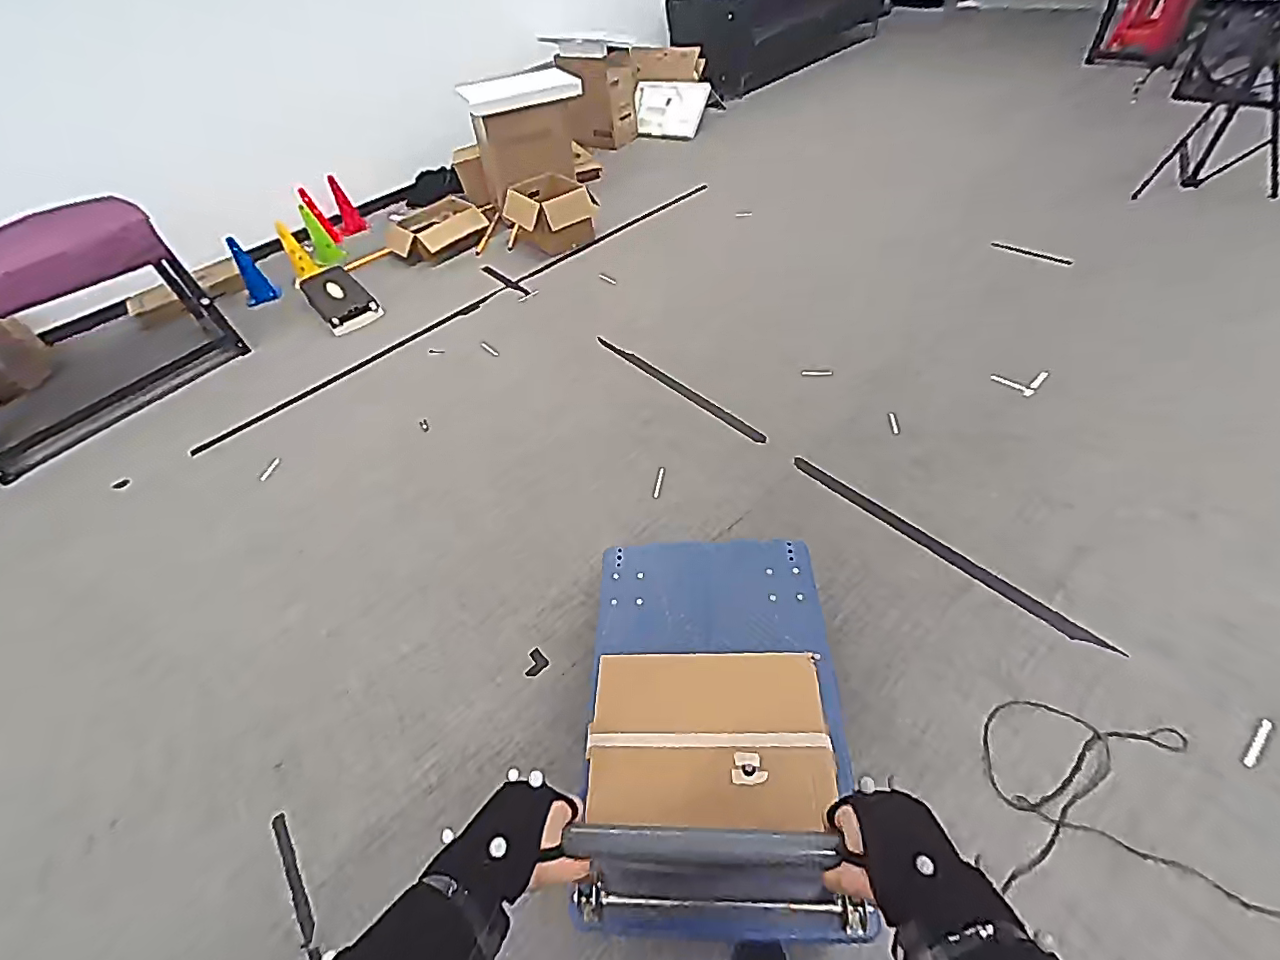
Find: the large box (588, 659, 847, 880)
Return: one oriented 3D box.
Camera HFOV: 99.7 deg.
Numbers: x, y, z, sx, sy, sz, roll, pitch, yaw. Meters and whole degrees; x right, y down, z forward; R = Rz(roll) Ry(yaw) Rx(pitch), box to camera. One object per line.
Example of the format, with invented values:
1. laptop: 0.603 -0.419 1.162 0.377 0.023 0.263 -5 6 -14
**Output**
1. large box: 0.133 0.557 1.033 0.408 0.320 0.320 -3 49 6
